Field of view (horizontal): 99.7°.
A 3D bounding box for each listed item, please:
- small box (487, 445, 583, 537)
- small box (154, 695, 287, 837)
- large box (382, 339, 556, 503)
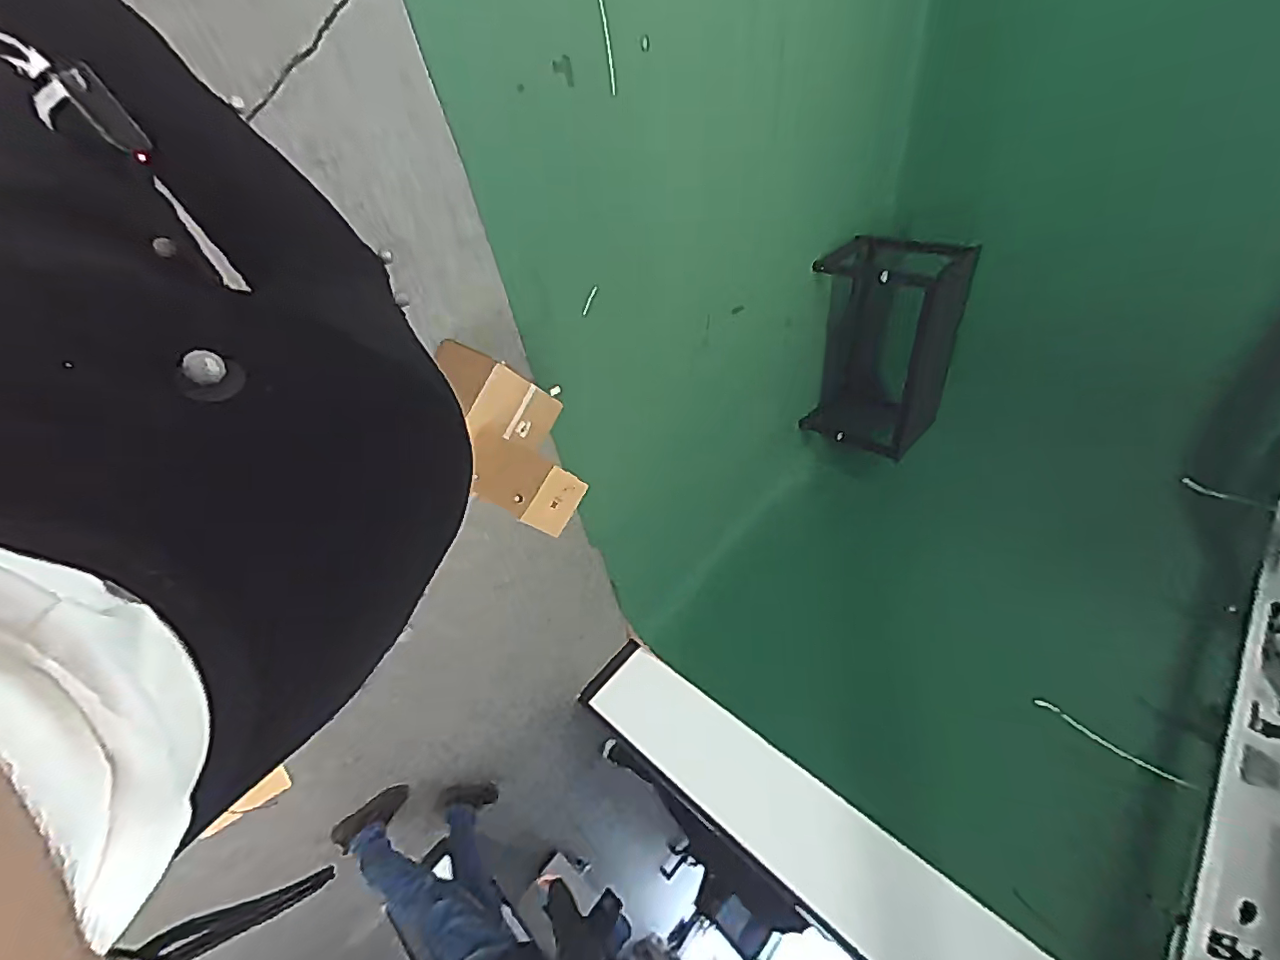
[{"bbox_3d":[-0.298,0.029,1.505,0.179,0.176,0.168,-60,145,-6],"label":"small box"},{"bbox_3d":[-0.884,0.587,1.141,0.168,0.176,0.179,-24,129,-40],"label":"small box"},{"bbox_3d":[-0.554,-0.184,1.756,0.320,0.320,0.408,30,87,-56],"label":"large box"}]
